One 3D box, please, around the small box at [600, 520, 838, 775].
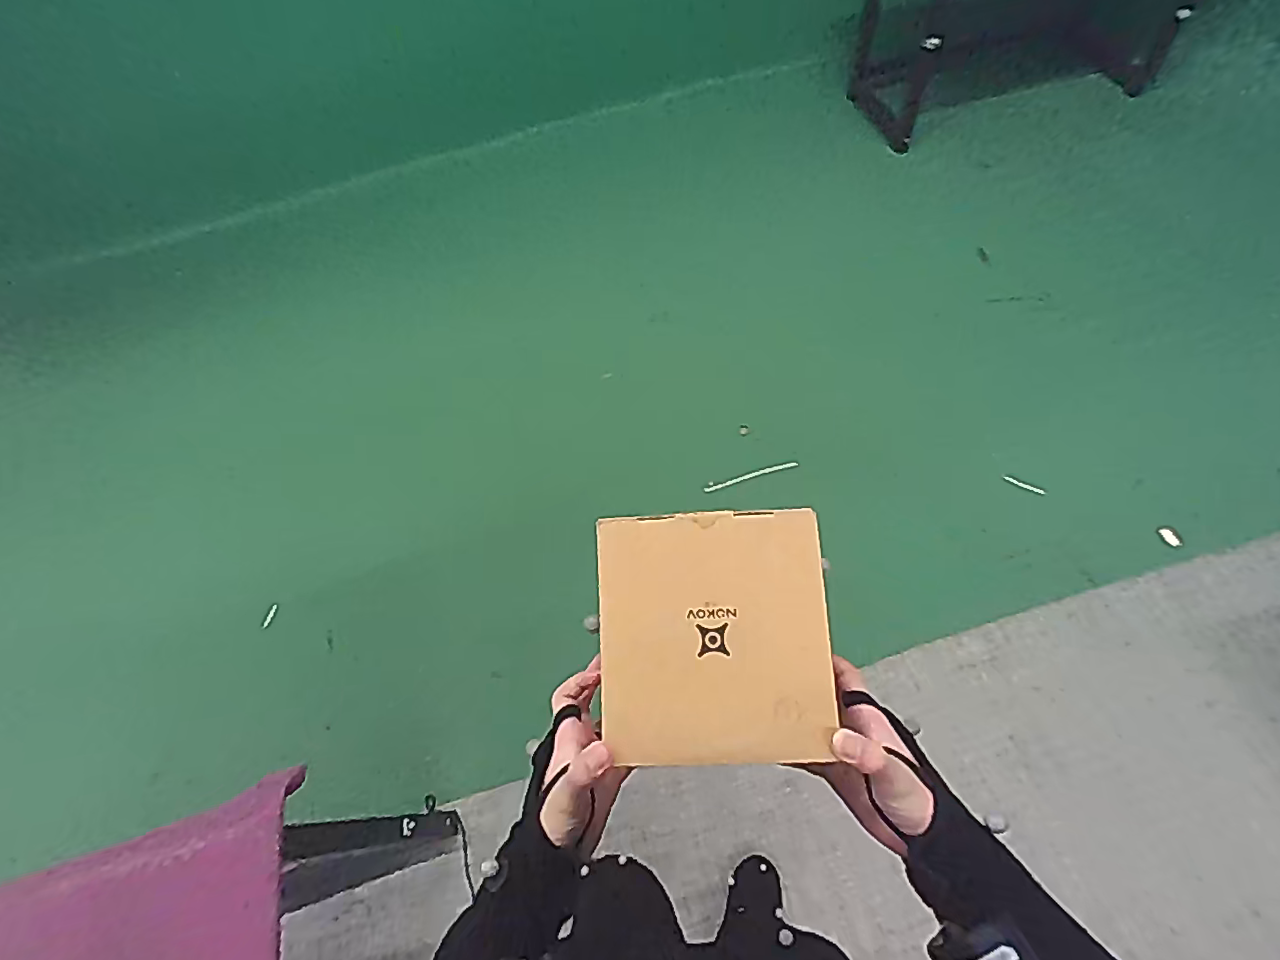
[{"bbox_3d":[0.059,0.135,0.467,0.168,0.176,0.179,-3,75,4],"label":"small box"}]
